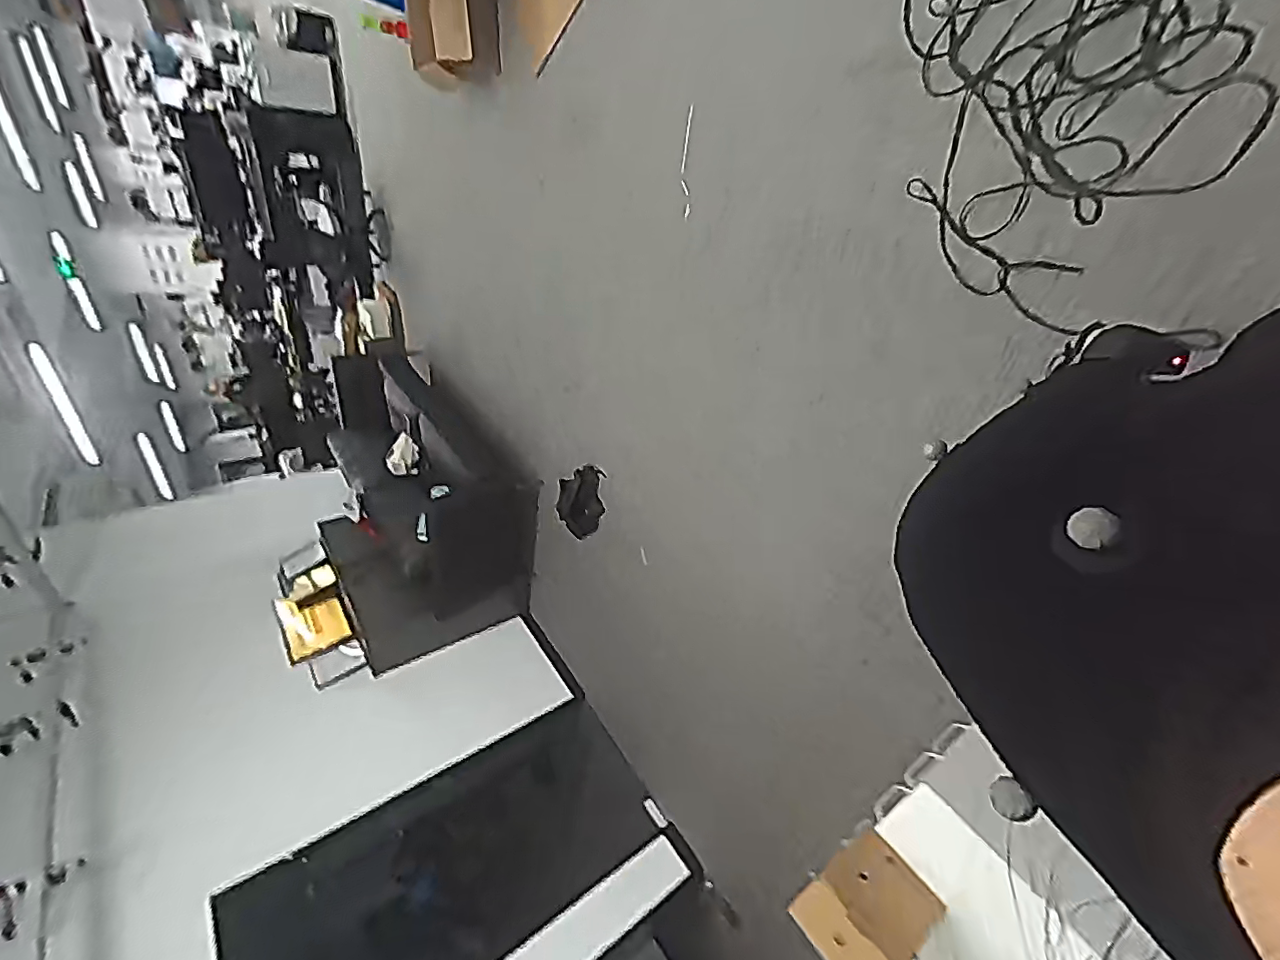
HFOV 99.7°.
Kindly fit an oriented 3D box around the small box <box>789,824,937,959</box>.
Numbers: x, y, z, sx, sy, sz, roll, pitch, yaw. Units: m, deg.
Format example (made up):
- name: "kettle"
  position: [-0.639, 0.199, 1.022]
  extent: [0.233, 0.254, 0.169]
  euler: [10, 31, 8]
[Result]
- name: "small box"
  position: [0.416, 0.792, 1.009]
  extent: [0.168, 0.176, 0.179]
  euler: [44, 137, 37]
